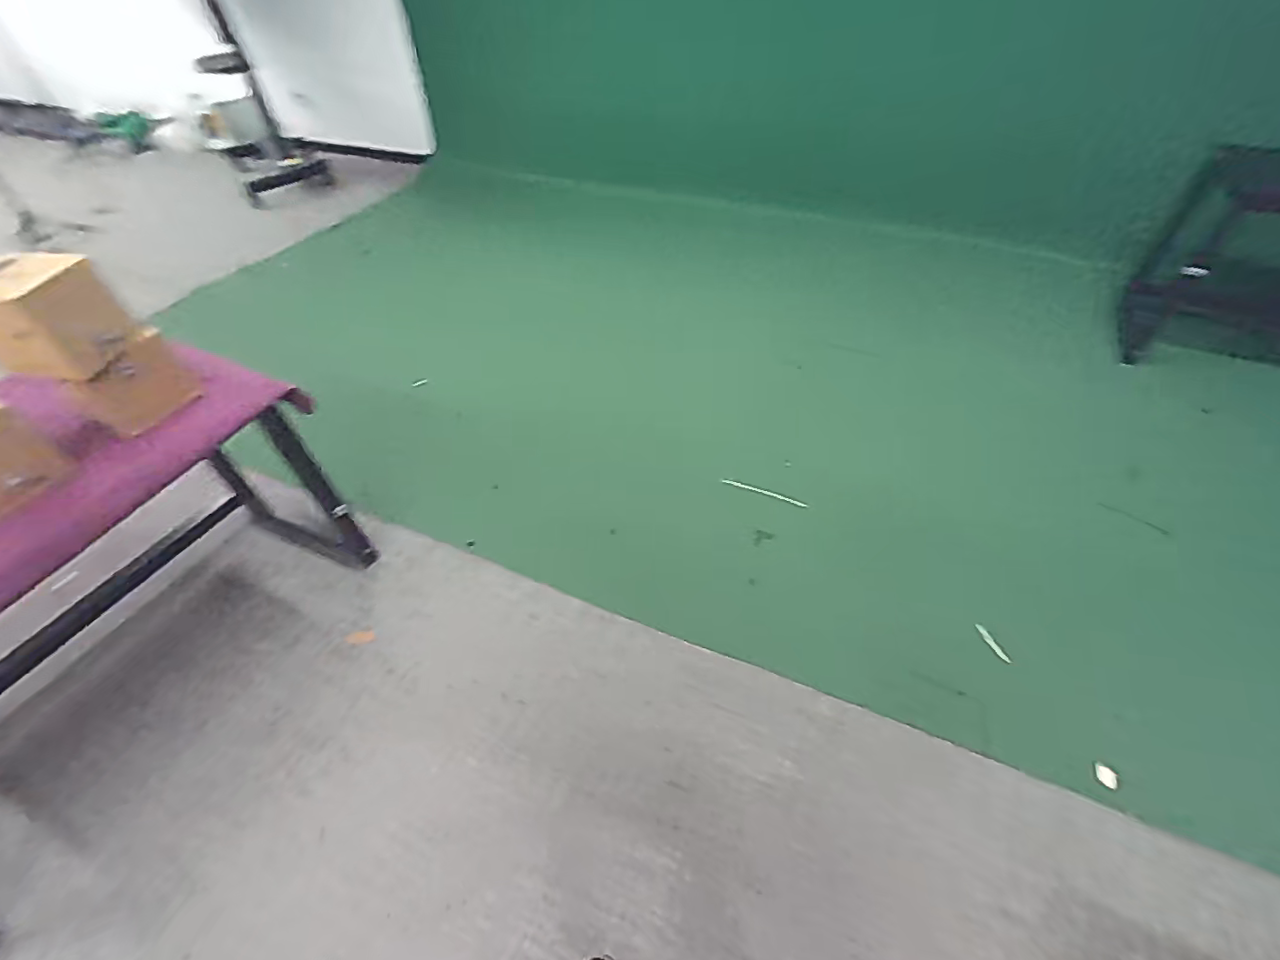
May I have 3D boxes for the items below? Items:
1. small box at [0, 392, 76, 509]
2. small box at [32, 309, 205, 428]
[{"bbox_3d":[-1.246,-0.065,1.008,0.179,0.176,0.168,16,50,15],"label":"small box"},{"bbox_3d":[-1.108,-0.238,1.165,0.168,0.176,0.179,20,51,19],"label":"small box"}]
